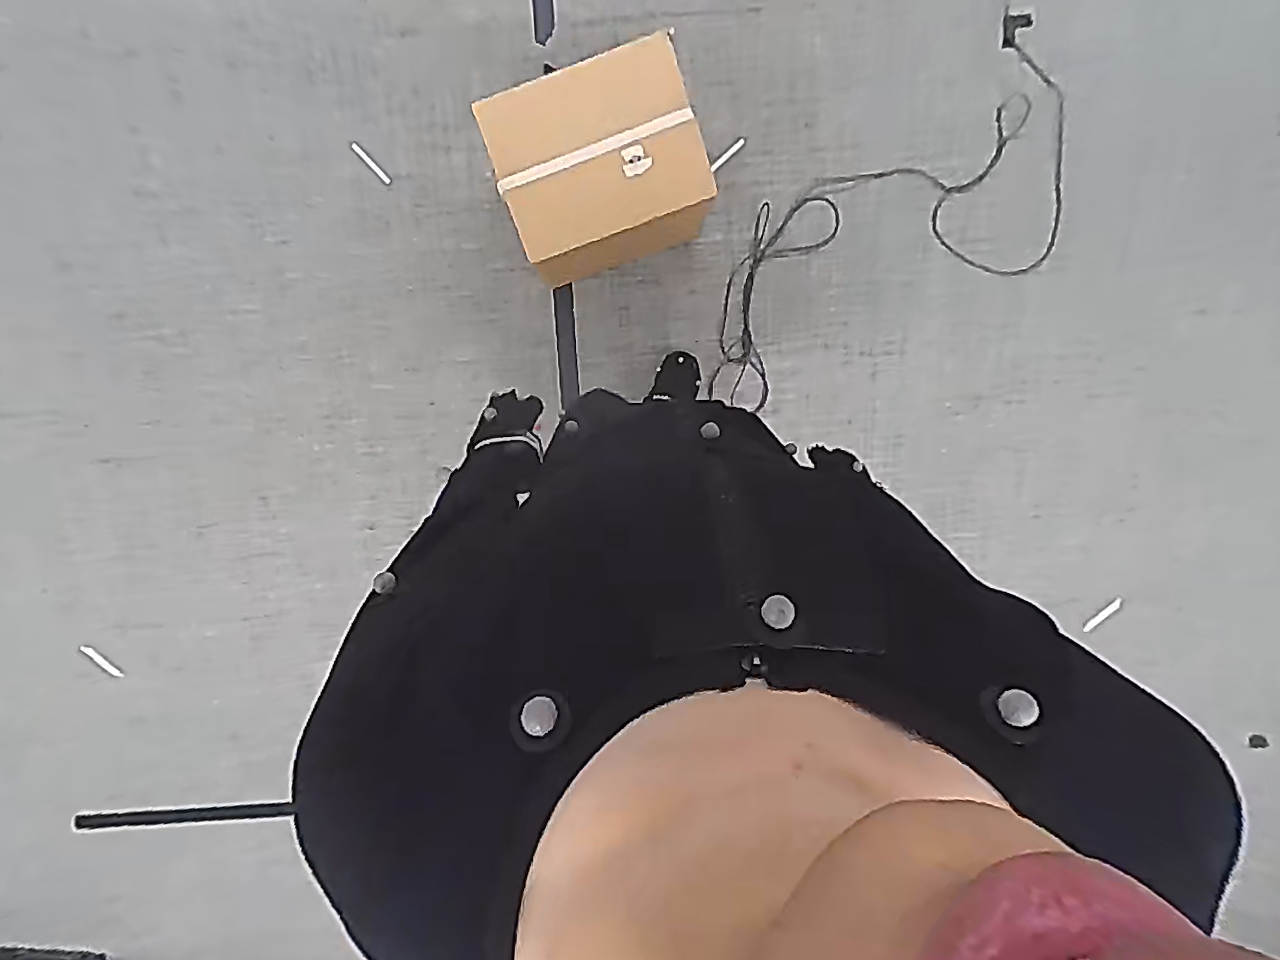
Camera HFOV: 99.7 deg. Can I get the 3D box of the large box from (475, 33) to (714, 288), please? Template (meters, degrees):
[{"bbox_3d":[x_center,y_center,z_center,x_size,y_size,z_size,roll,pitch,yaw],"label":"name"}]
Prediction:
[{"bbox_3d":[-0.091,-0.673,1.212,0.408,0.320,0.320,-20,100,2],"label":"large box"}]
